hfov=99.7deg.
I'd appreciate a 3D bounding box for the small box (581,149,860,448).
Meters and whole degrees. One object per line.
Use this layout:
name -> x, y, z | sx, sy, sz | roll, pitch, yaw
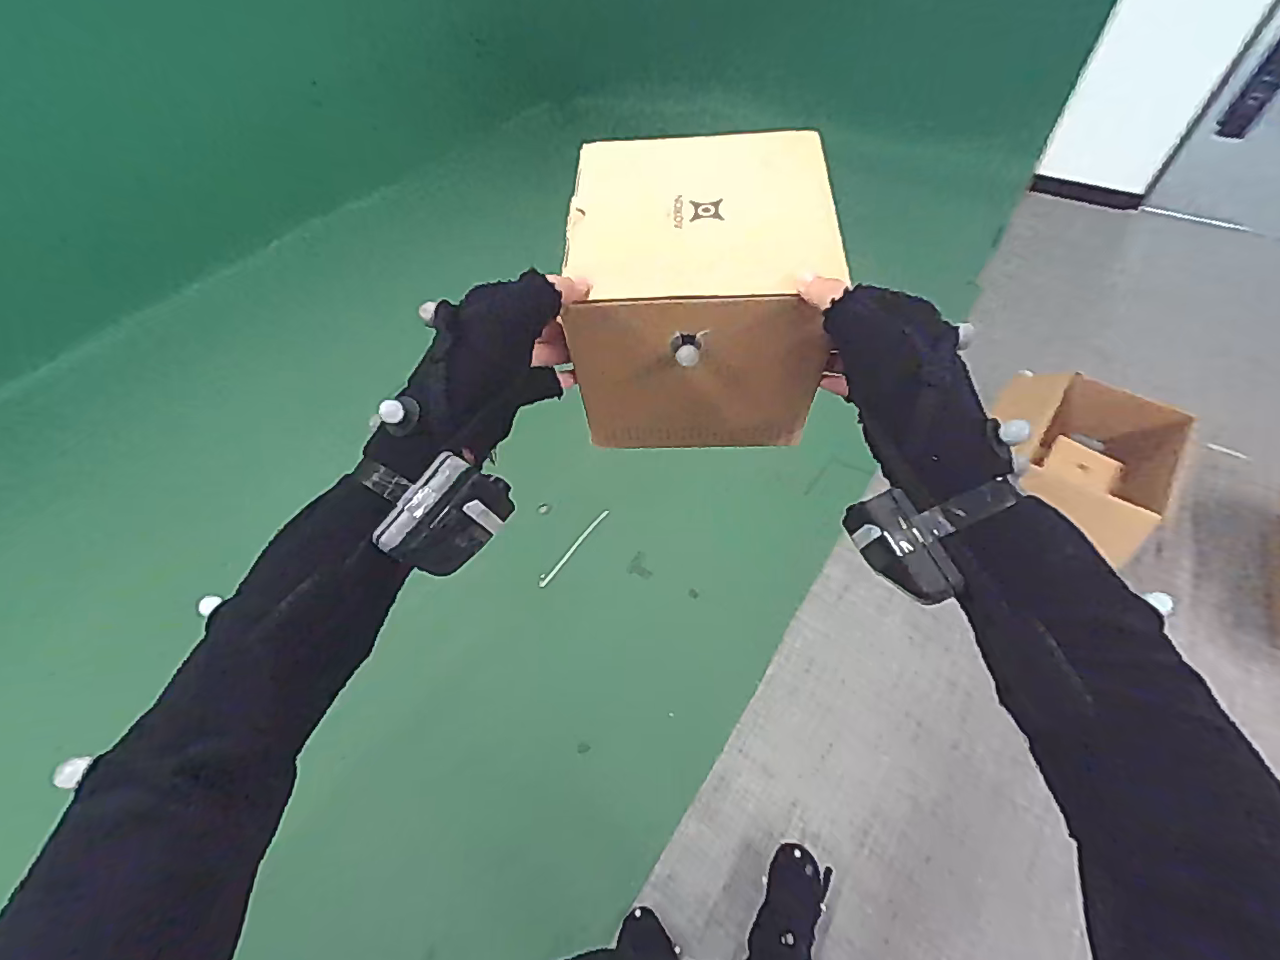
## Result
small box -> 0.058, -0.137, 0.443 | 0.179, 0.176, 0.168 | 0, 61, 5
